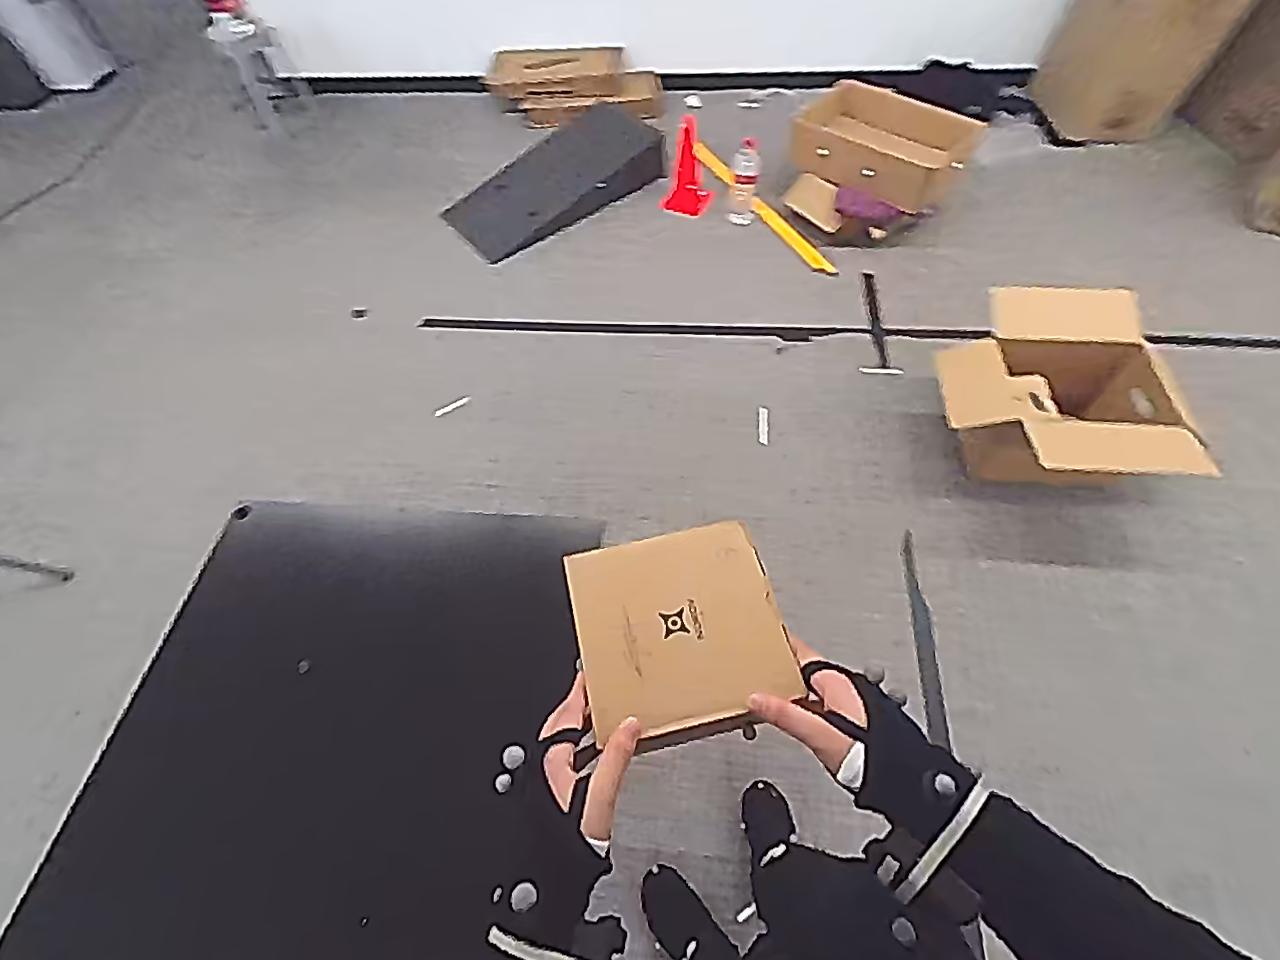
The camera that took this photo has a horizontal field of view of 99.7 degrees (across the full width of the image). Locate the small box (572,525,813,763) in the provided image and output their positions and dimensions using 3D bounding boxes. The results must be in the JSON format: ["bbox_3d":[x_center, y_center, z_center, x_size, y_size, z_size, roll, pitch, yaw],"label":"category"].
[{"bbox_3d":[0.041,0.167,0.530,0.179,0.176,0.168,-13,59,-4],"label":"small box"}]
